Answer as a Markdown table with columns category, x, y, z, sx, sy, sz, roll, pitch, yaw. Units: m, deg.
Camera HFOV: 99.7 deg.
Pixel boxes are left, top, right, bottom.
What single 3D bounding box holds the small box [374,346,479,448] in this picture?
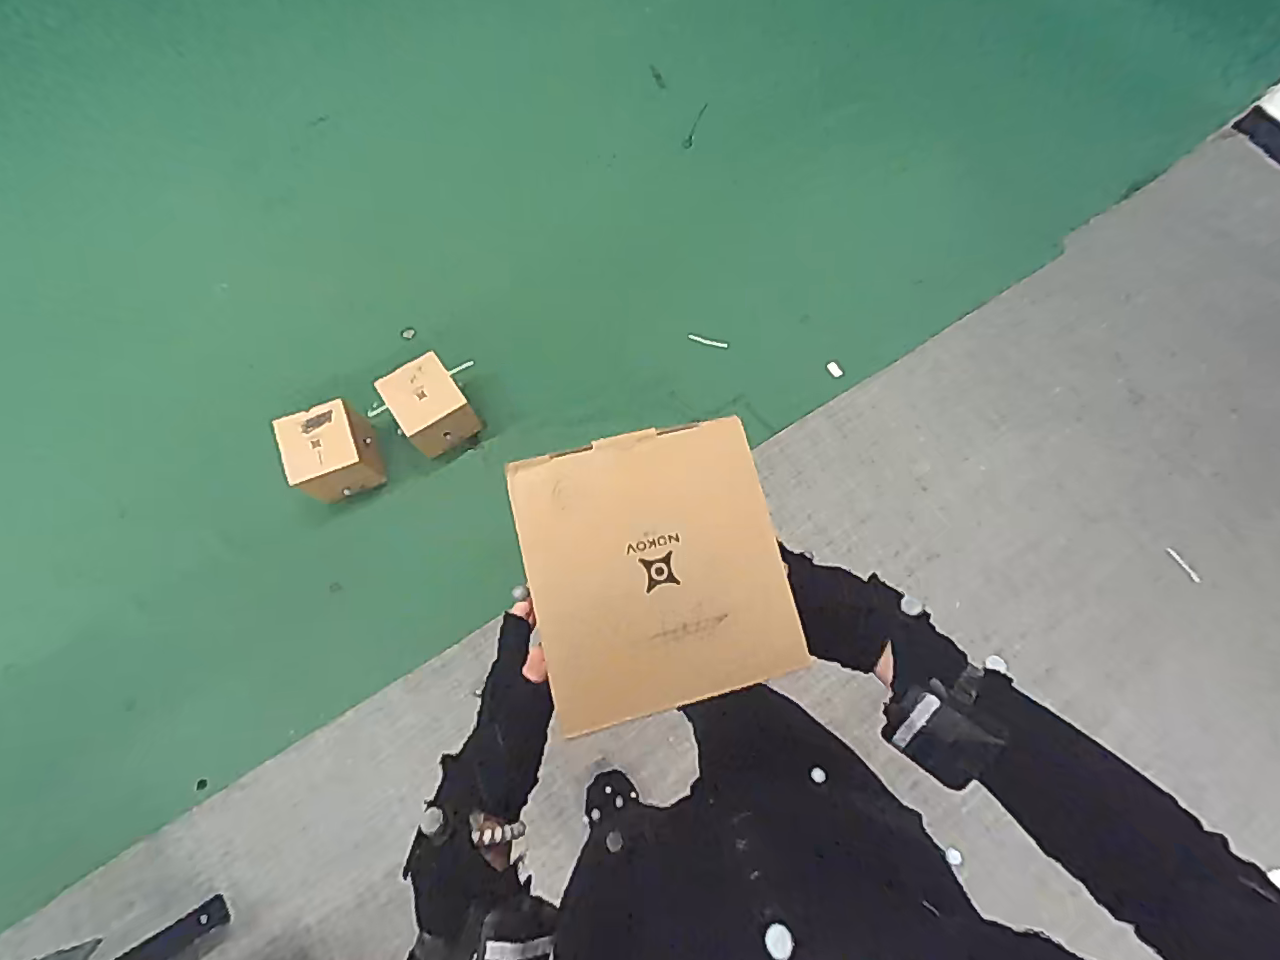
| category | x | y | z | sx | sy | sz | roll | pitch | yaw |
| --- | --- | --- | --- | --- | --- | --- | --- | --- | --- |
| small box | -0.536 | -0.201 | 1.385 | 0.168 | 0.176 | 0.179 | -33 | 77 | -13 |

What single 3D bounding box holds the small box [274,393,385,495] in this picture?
| category | x | y | z | sx | sy | sz | roll | pitch | yaw |
| --- | --- | --- | --- | --- | --- | --- | --- | --- | --- |
| small box | -0.762 | -0.084 | 1.339 | 0.168 | 0.176 | 0.179 | -21 | 76 | -8 |
